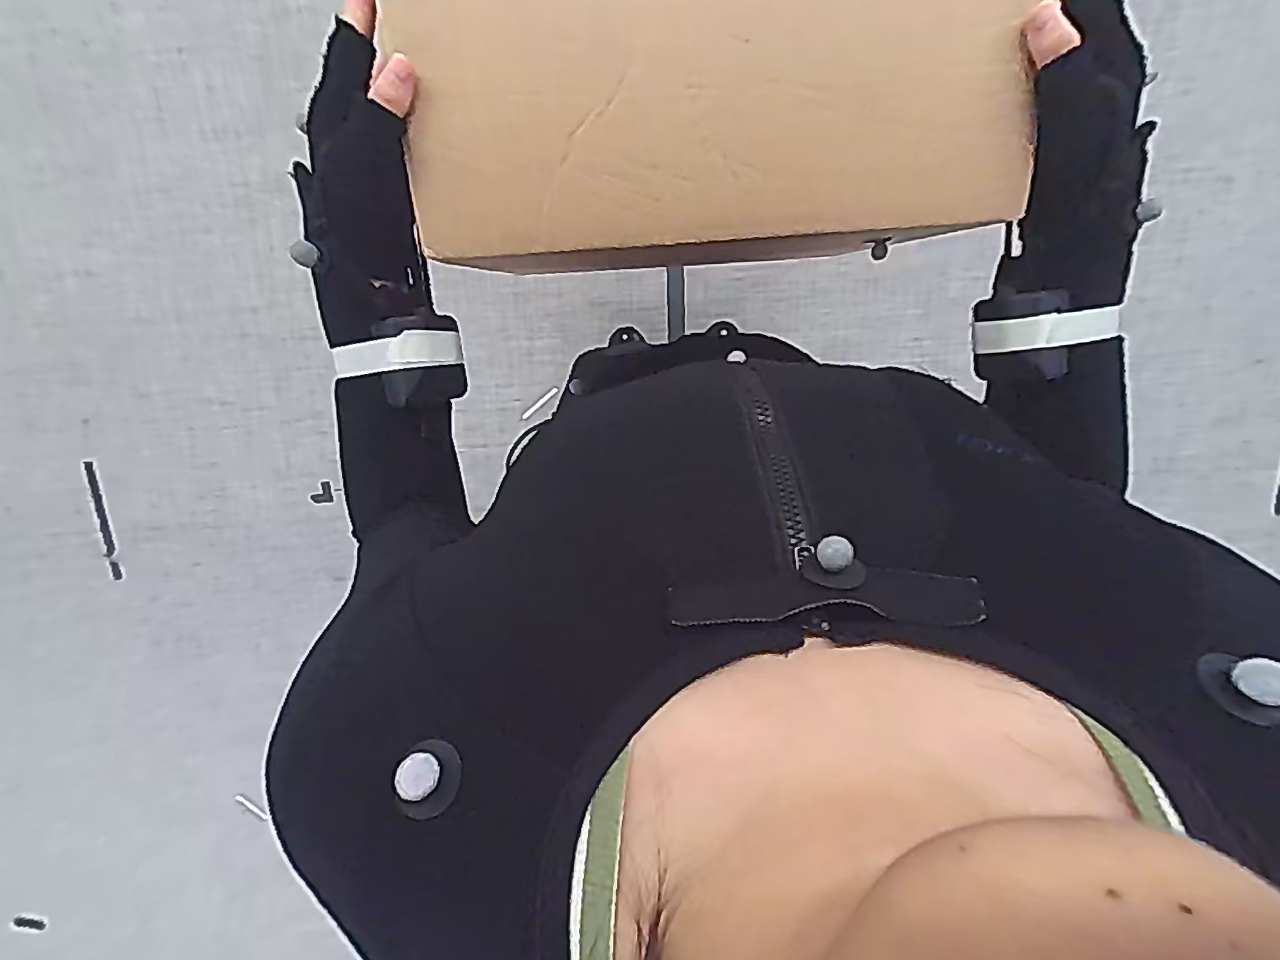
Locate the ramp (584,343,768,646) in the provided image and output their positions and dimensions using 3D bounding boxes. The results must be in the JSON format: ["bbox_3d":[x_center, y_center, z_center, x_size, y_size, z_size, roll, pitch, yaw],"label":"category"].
[{"bbox_3d":[0.121,0.101,1.627,0.509,0.206,0.991,-5,105,1],"label":"ramp"}]

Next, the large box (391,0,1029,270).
[{"bbox_3d":[0.042,-0.363,0.468,0.408,0.320,0.320,-4,109,0],"label":"large box"}]
